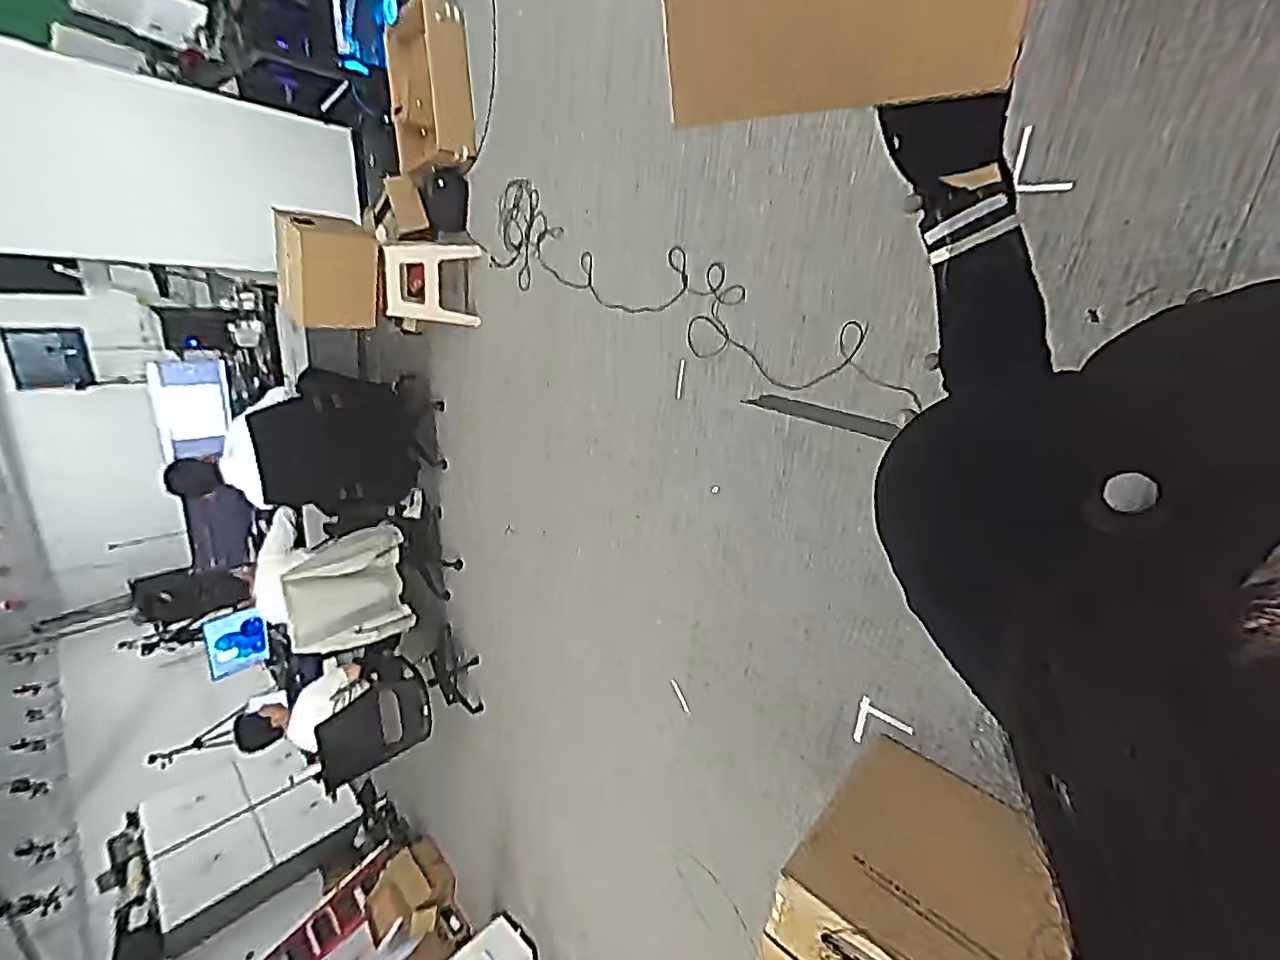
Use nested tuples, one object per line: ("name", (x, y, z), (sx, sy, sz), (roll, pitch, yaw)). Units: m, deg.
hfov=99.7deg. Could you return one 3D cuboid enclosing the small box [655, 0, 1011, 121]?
("small box", (0.105, -0.312, 0.283), (0.168, 0.179, 0.176), (4, 131, 20))
